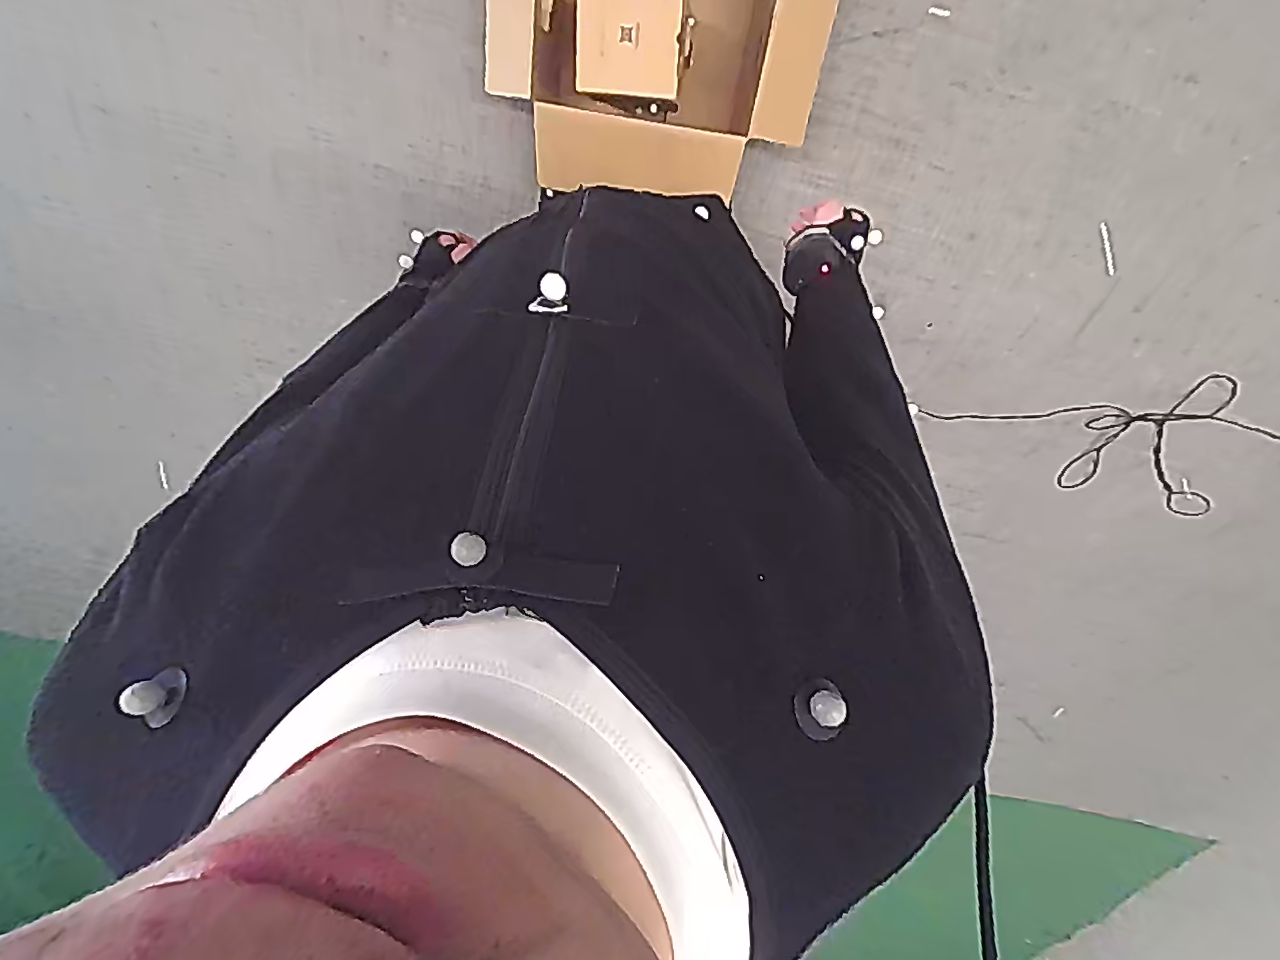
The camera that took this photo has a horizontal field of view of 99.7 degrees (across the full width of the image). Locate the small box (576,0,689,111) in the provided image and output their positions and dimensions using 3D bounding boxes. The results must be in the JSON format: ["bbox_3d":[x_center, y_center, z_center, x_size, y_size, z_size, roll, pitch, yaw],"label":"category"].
[{"bbox_3d":[-0.009,-0.766,0.955,0.179,0.176,0.168,7,118,3],"label":"small box"}]
